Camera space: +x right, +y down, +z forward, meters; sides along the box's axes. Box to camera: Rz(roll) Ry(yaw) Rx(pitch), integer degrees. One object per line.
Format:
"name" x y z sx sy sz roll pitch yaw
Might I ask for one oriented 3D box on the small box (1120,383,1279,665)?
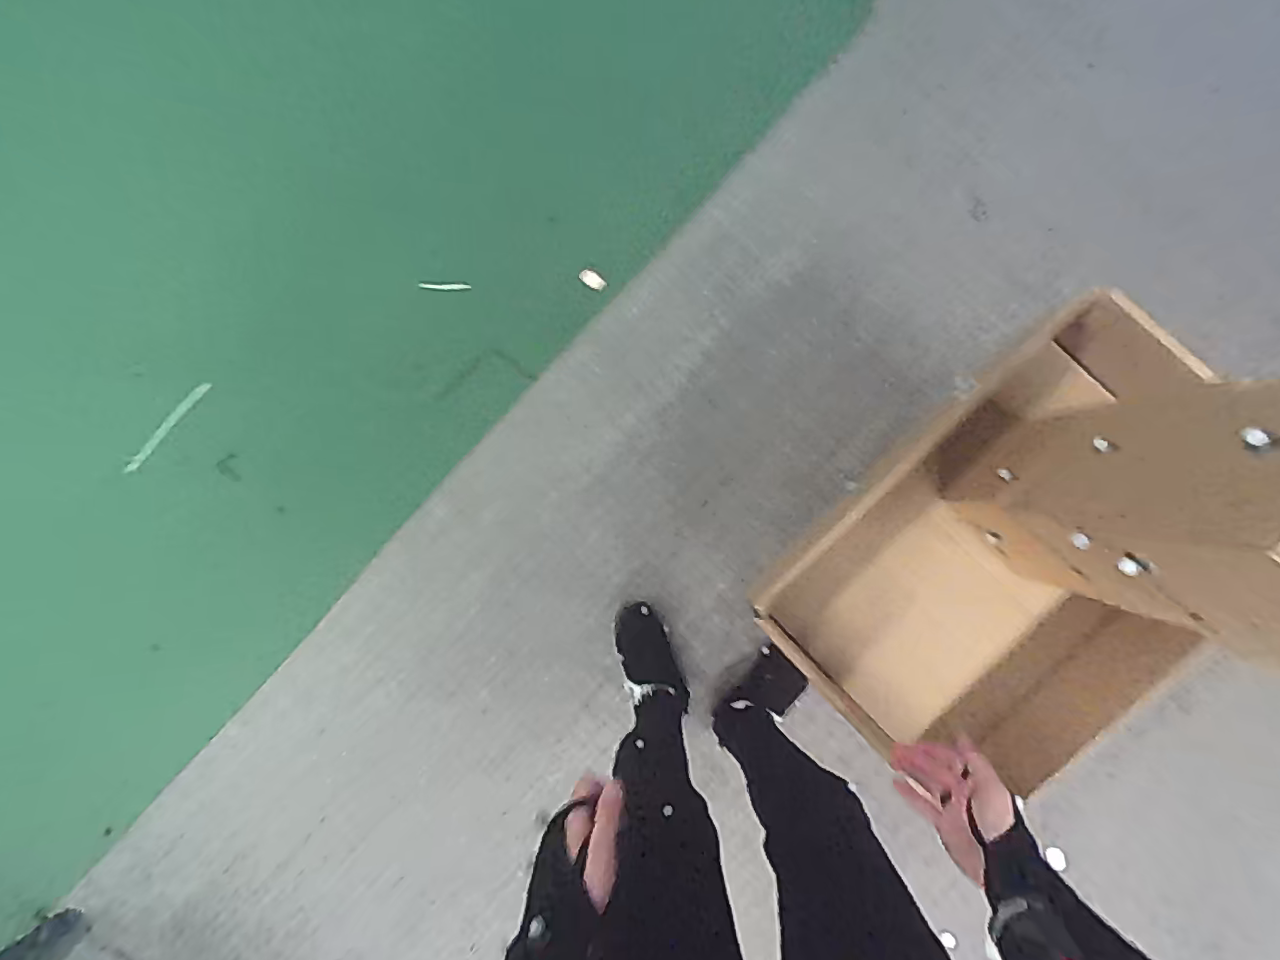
"small box" 0.508 0.036 0.384 0.168 0.176 0.179 44 95 6

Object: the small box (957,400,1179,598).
"small box" 0.566 0.021 0.708 0.179 0.176 0.168 -45 84 5
